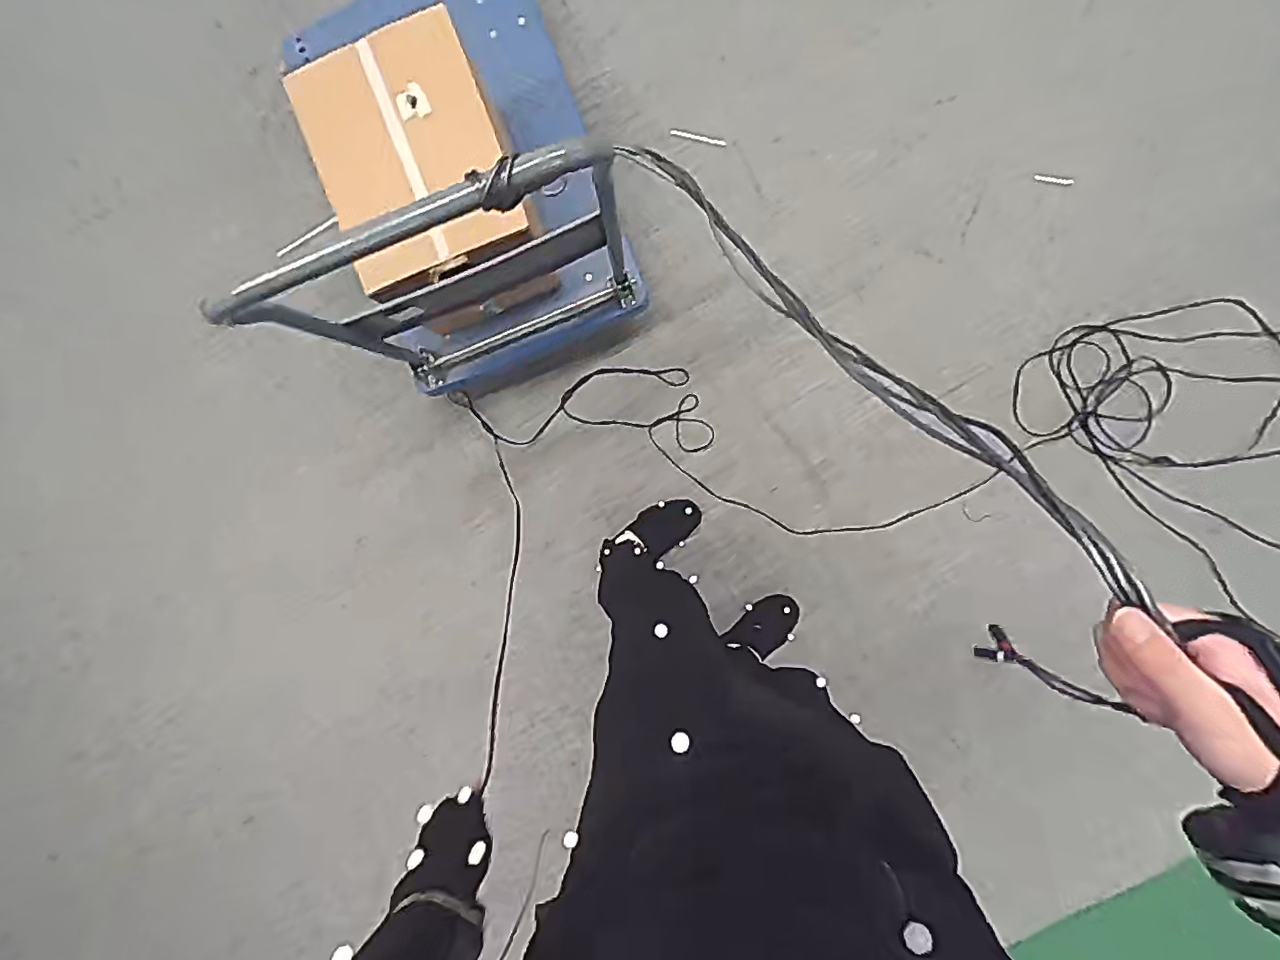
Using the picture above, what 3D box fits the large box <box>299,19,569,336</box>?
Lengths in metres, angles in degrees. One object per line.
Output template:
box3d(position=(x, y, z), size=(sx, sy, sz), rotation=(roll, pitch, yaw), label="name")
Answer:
box3d(position=(-0.380, -0.562, 1.090), size=(0.320, 0.320, 0.408), rotation=(-21, 90, 3), label="large box")
